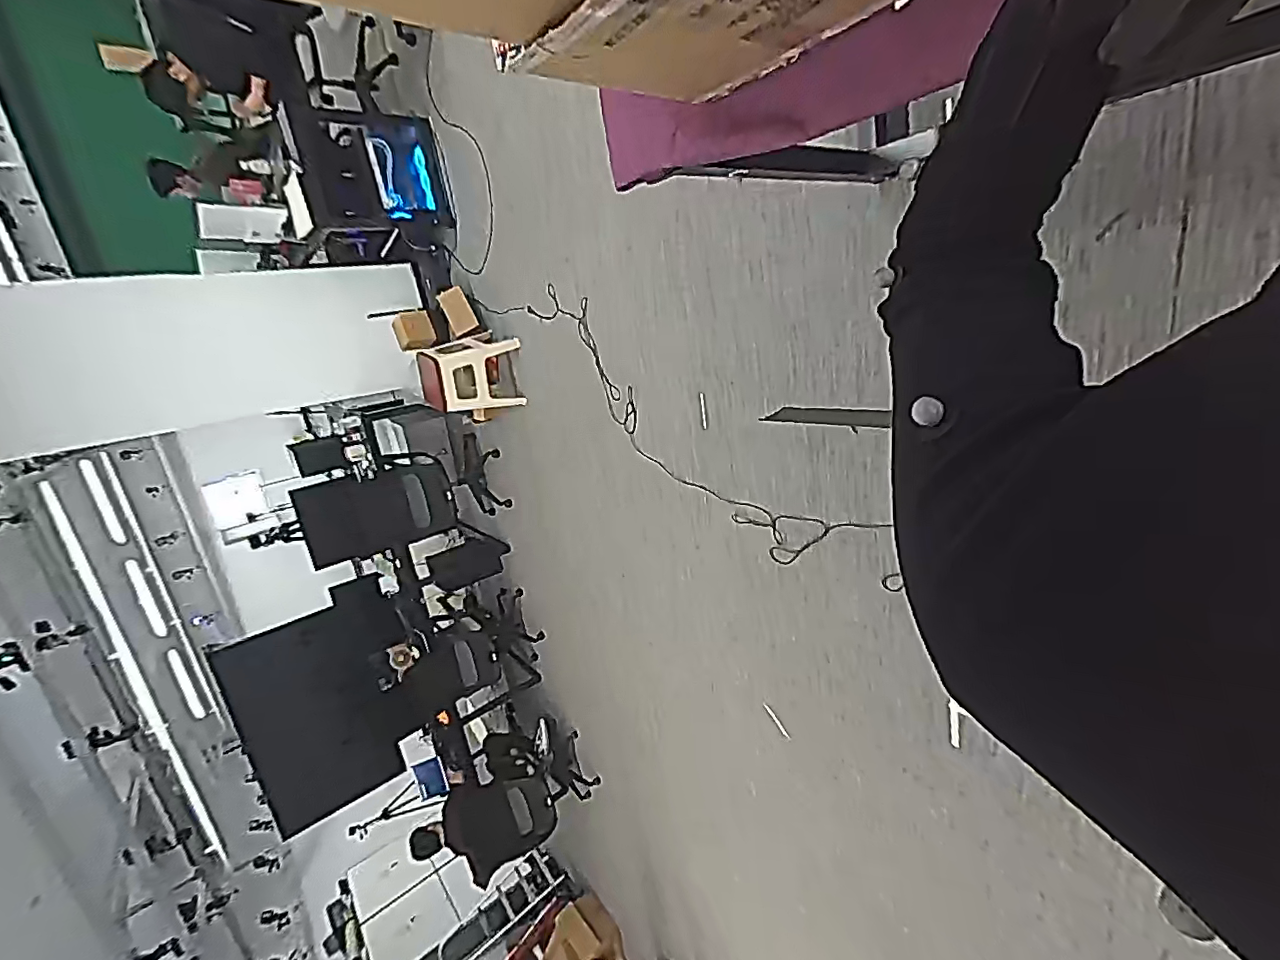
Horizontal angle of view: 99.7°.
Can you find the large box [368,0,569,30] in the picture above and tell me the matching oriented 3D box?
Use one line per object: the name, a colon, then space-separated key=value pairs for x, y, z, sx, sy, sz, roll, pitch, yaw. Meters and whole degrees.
large box: x=-0.164 y=-0.592 z=0.312 sx=0.320 sy=0.320 sz=0.408 roll=12 pitch=117 yaw=52
